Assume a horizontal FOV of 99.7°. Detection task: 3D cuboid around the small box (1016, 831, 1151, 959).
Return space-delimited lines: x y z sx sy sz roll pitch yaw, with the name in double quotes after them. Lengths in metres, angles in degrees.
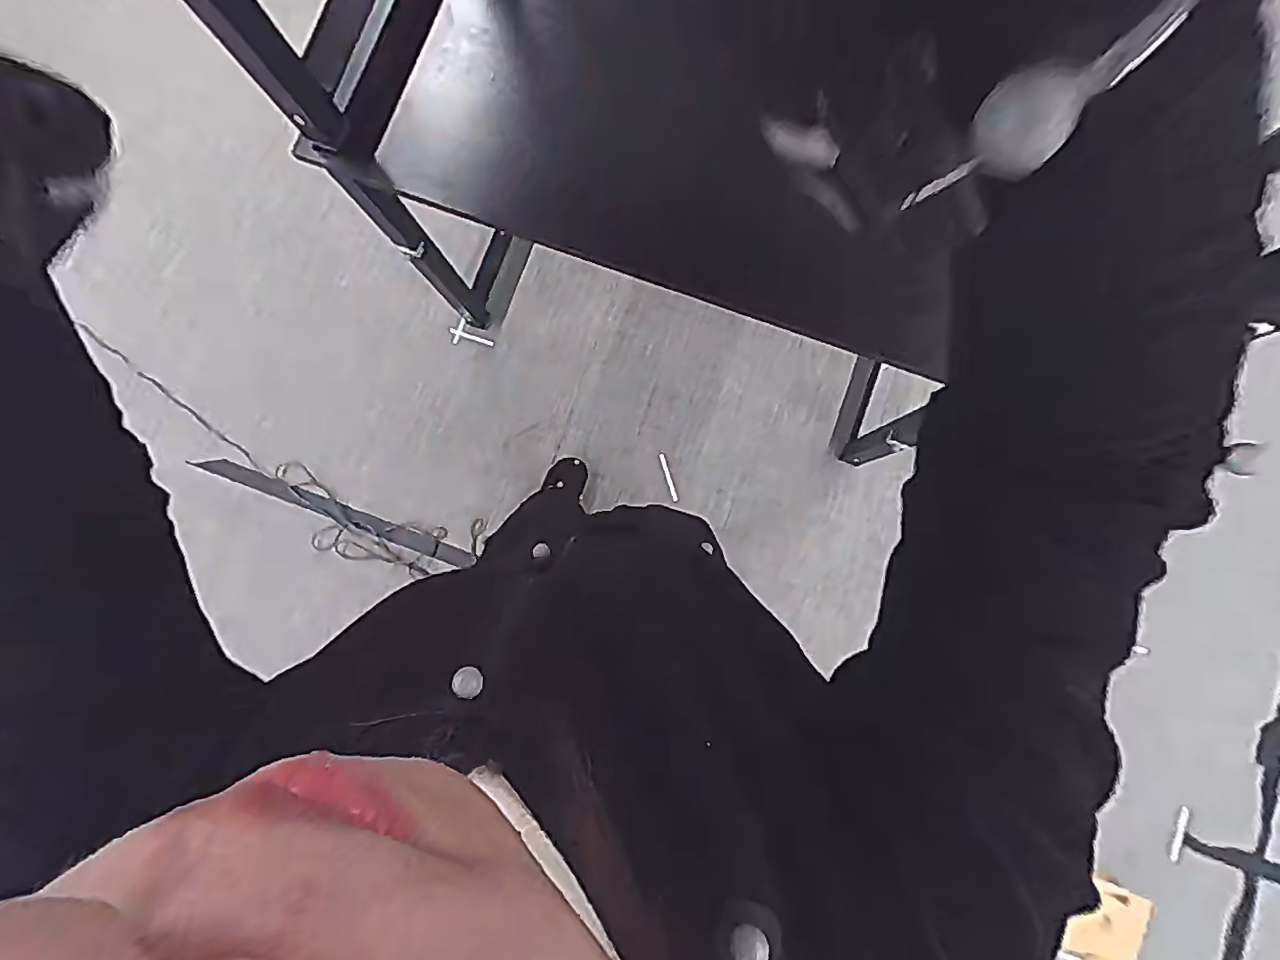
1.056 1.004 1.305 0.168 0.176 0.179 22 87 3 "small box"
